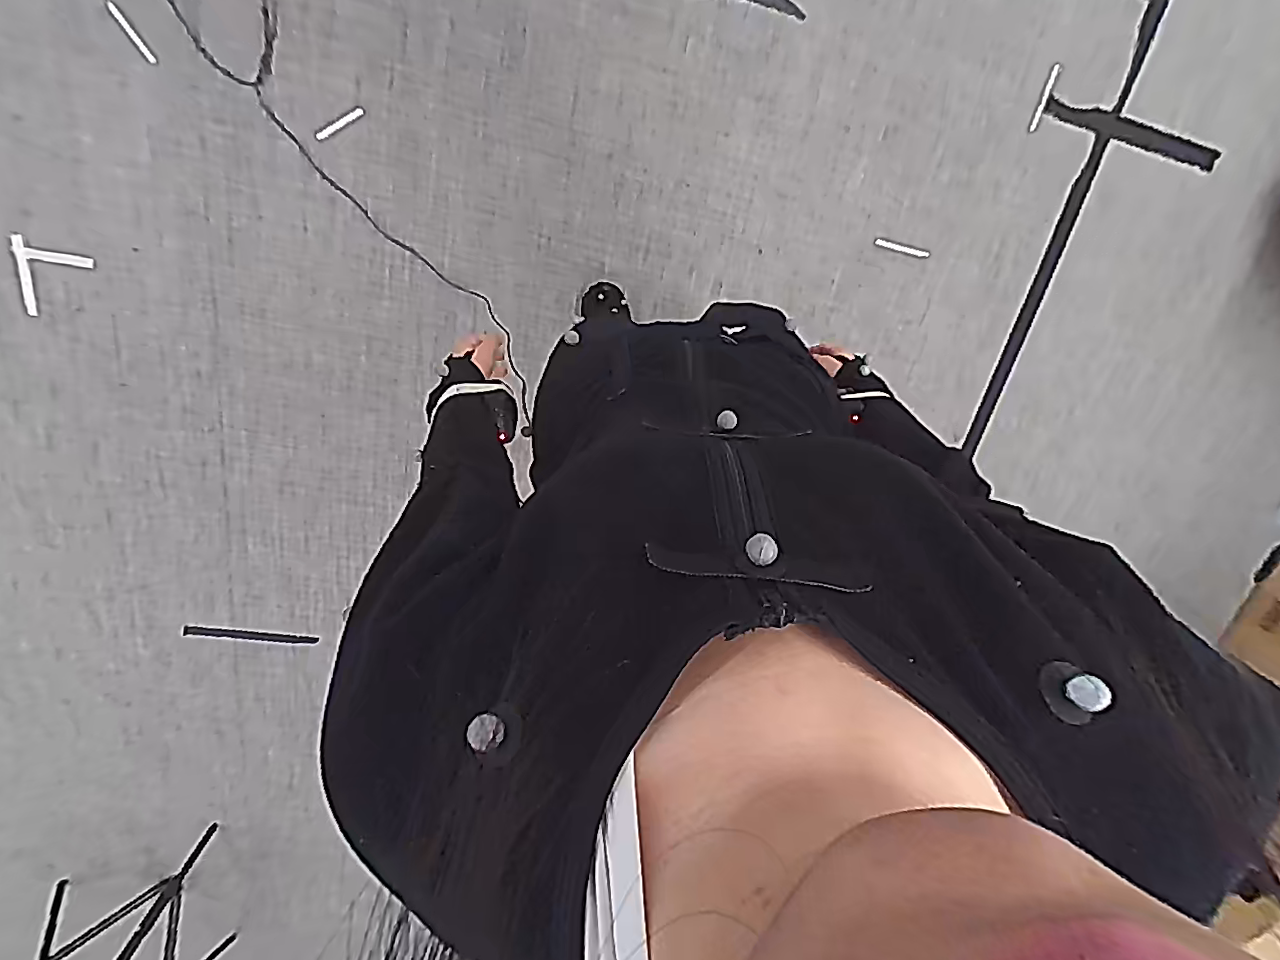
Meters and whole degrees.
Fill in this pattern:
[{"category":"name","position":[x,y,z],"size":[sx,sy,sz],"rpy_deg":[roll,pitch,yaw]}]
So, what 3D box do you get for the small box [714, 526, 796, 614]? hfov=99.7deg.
[{"category":"small box","position":[0.334,0.256,1.603],"size":[0.168,0.176,0.179],"rpy_deg":[-25,113,5]}]
